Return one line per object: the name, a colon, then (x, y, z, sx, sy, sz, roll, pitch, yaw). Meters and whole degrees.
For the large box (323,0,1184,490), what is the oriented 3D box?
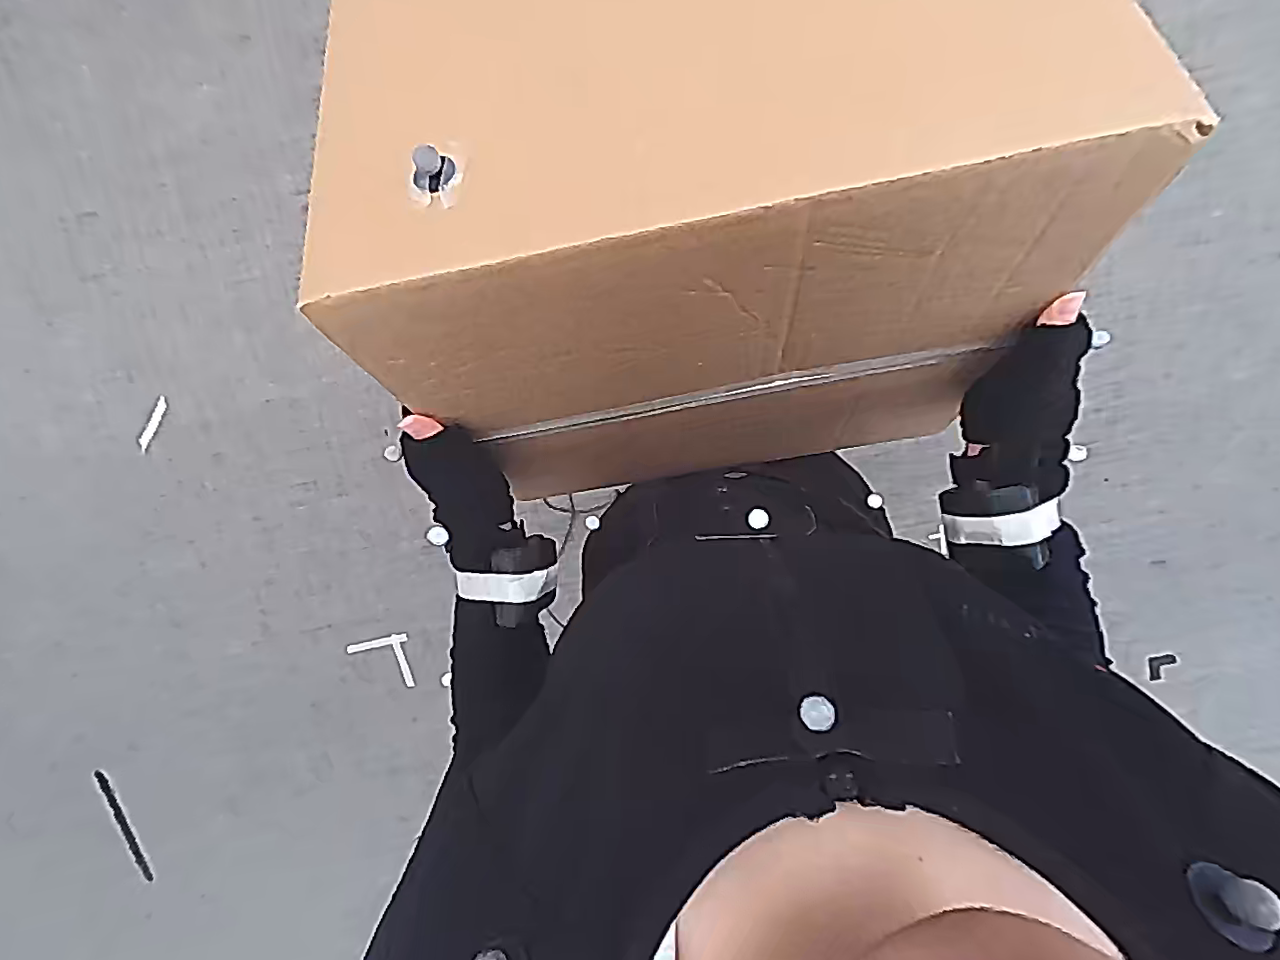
large box: (0.038, -0.212, 0.436, 0.408, 0.320, 0.320, -9, 70, 4)
